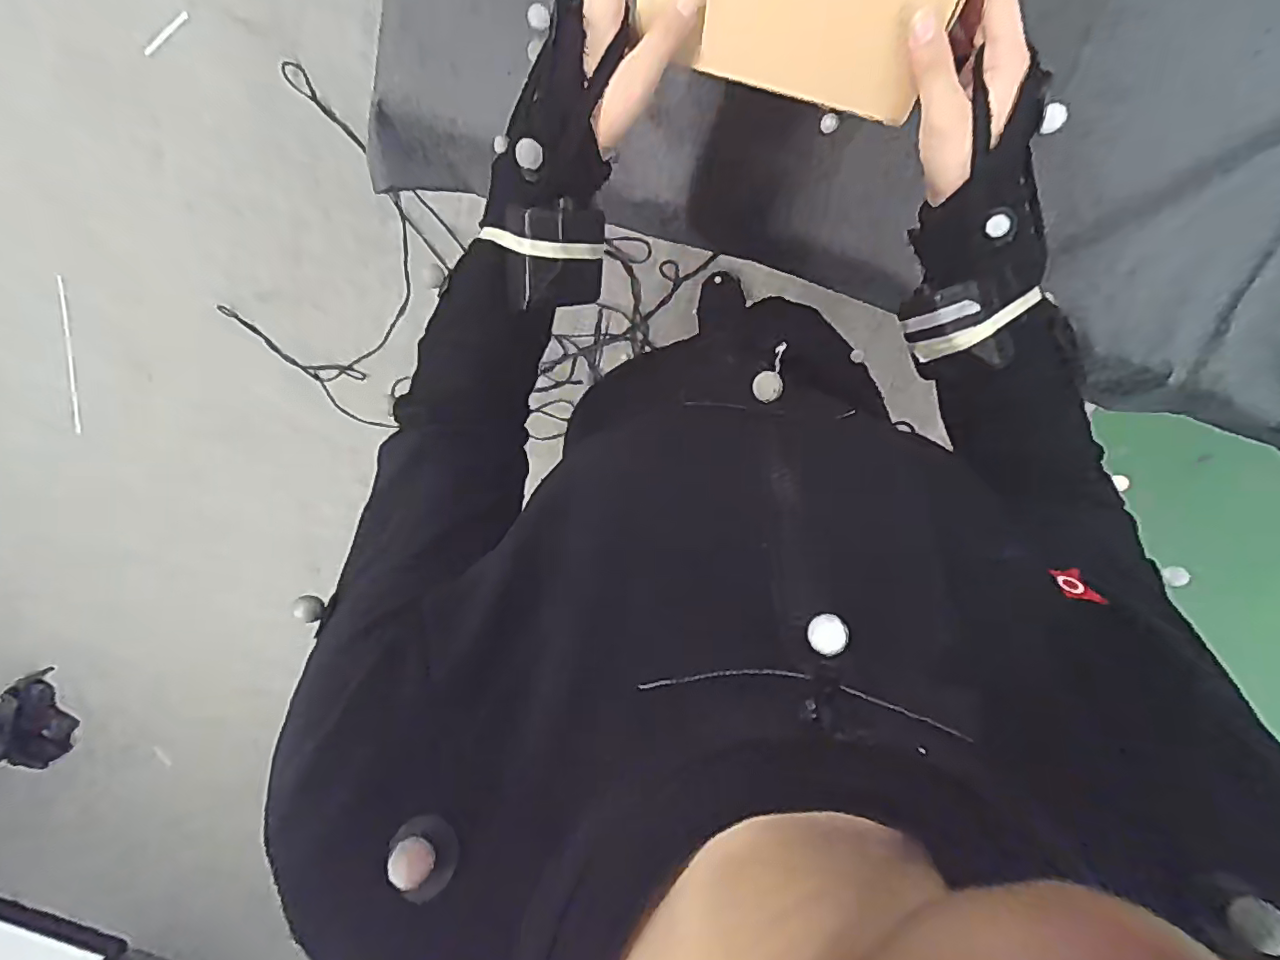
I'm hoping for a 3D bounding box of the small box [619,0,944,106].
[{"bbox_3d":[0.097,-0.351,0.333,0.179,0.176,0.168,13,129,-2],"label":"small box"}]
